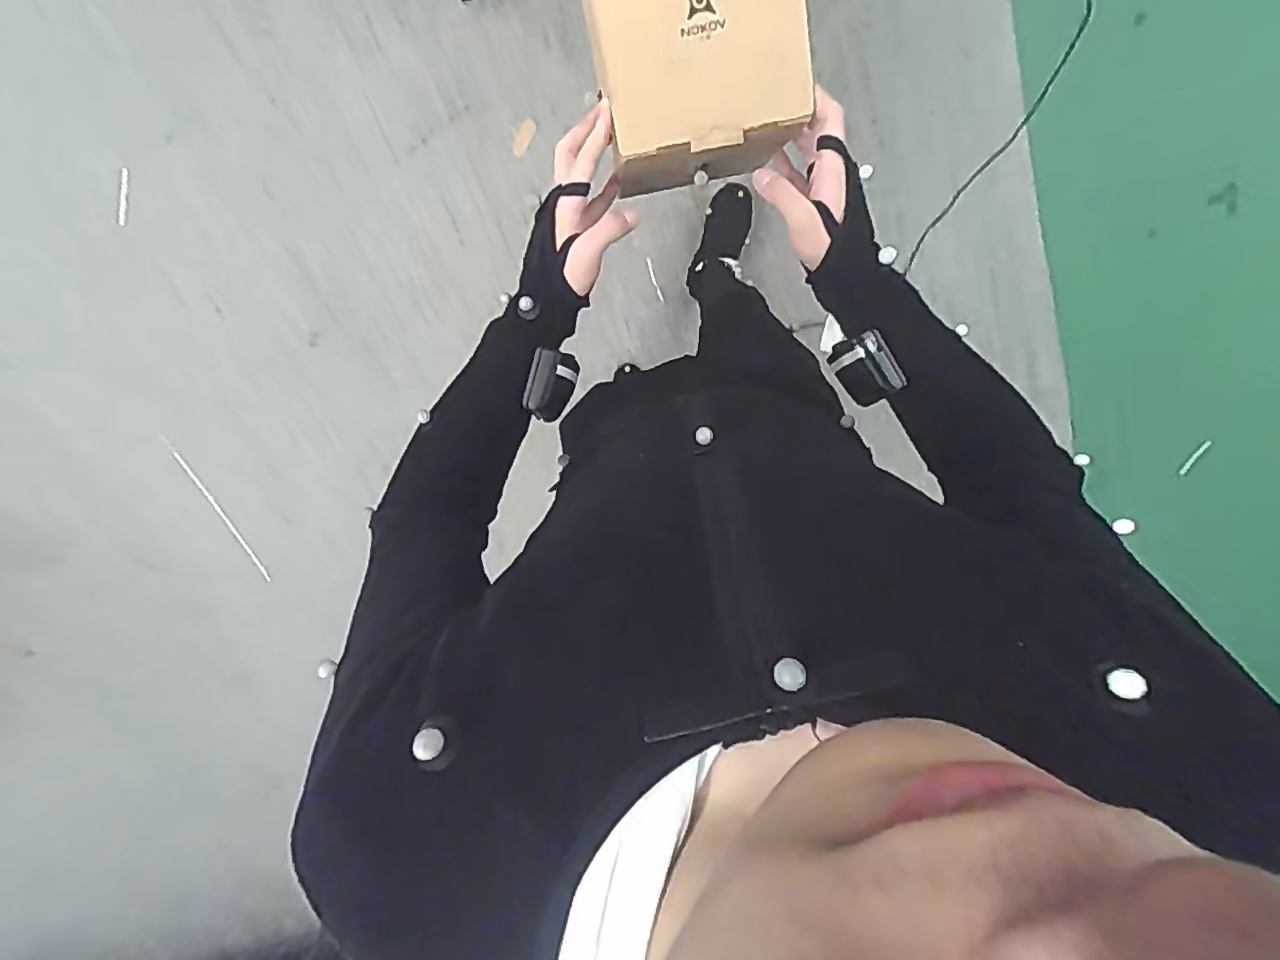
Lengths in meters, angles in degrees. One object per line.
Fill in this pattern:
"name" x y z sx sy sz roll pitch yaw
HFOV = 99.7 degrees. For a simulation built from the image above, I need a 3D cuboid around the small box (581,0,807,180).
"small box" 0.040 -0.393 0.496 0.168 0.176 0.179 -12 109 0
